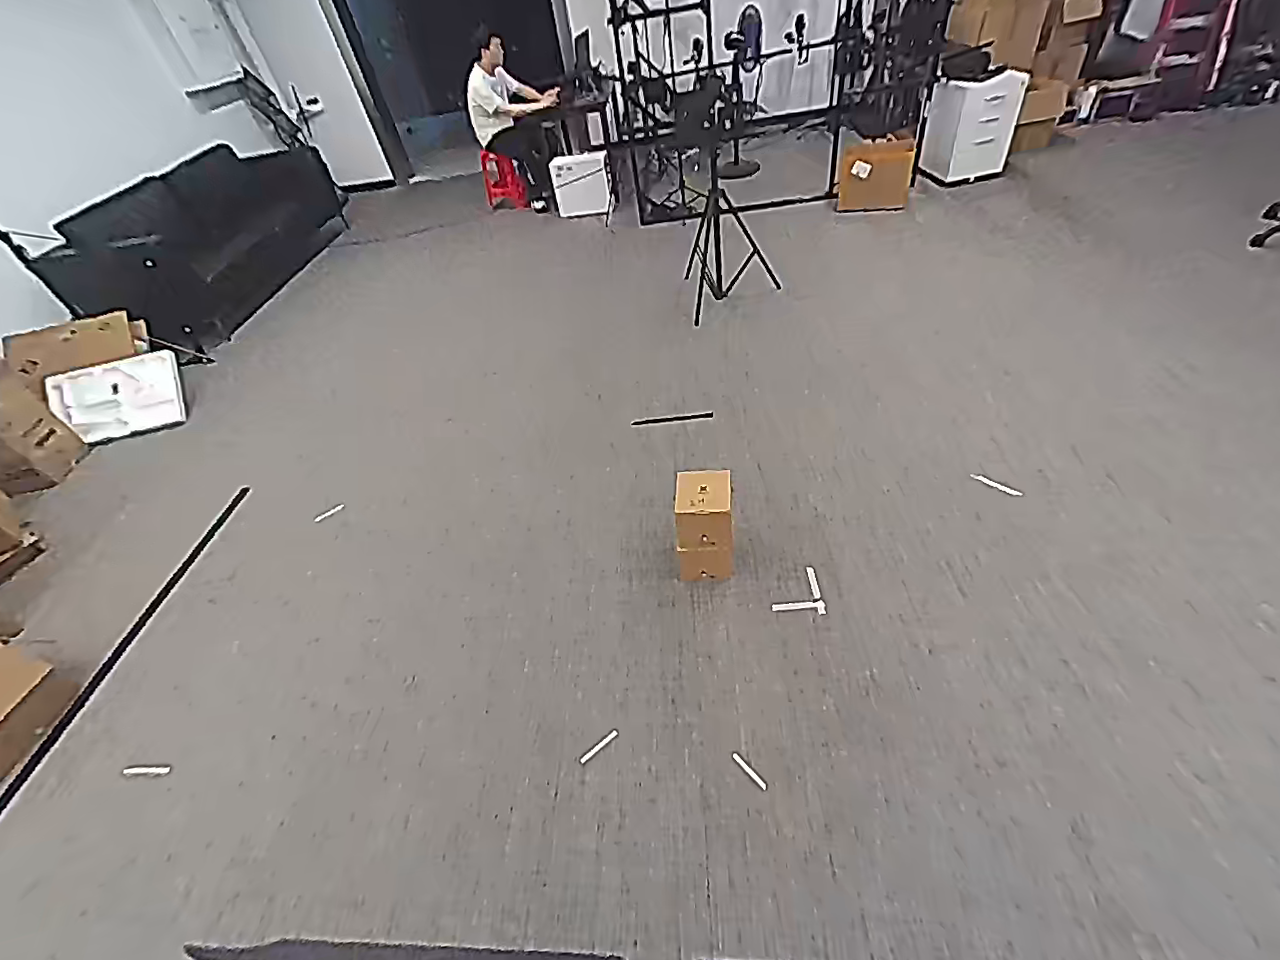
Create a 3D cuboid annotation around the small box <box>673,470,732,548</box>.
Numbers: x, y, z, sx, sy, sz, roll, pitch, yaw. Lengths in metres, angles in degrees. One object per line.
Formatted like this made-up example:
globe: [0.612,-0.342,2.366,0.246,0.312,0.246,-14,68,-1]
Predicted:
small box: [0.197,0.090,1.678,0.168,0.176,0.179,-3,45,11]
